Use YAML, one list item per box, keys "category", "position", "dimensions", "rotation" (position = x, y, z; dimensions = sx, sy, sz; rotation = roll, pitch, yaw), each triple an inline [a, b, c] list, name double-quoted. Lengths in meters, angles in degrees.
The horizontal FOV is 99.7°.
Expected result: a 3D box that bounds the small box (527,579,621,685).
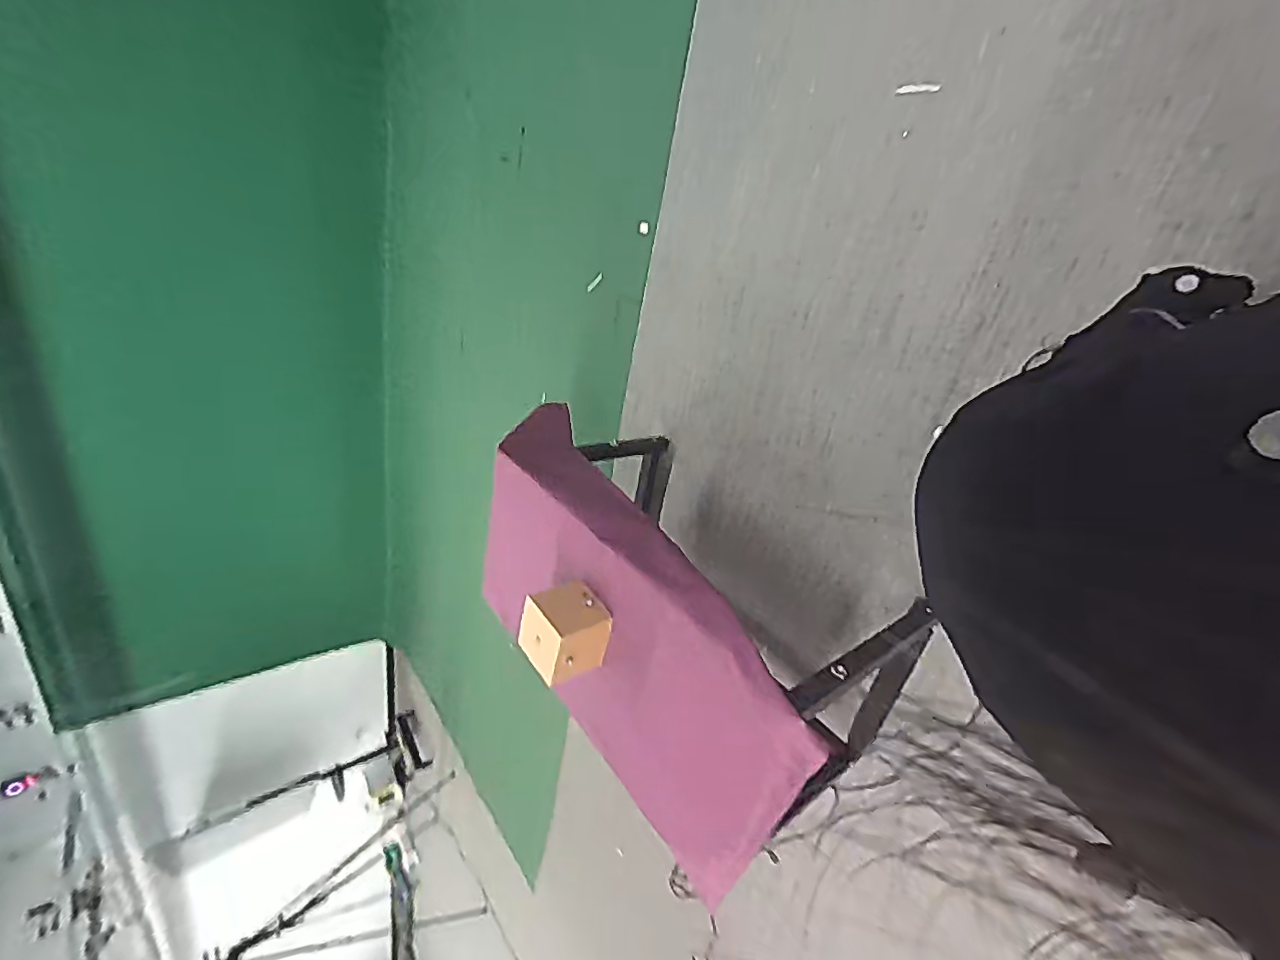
- category: "small box"
  position: [-0.171, 0.388, 1.406]
  dimensions: [0.168, 0.176, 0.179]
  rotation: [40, 126, 37]
